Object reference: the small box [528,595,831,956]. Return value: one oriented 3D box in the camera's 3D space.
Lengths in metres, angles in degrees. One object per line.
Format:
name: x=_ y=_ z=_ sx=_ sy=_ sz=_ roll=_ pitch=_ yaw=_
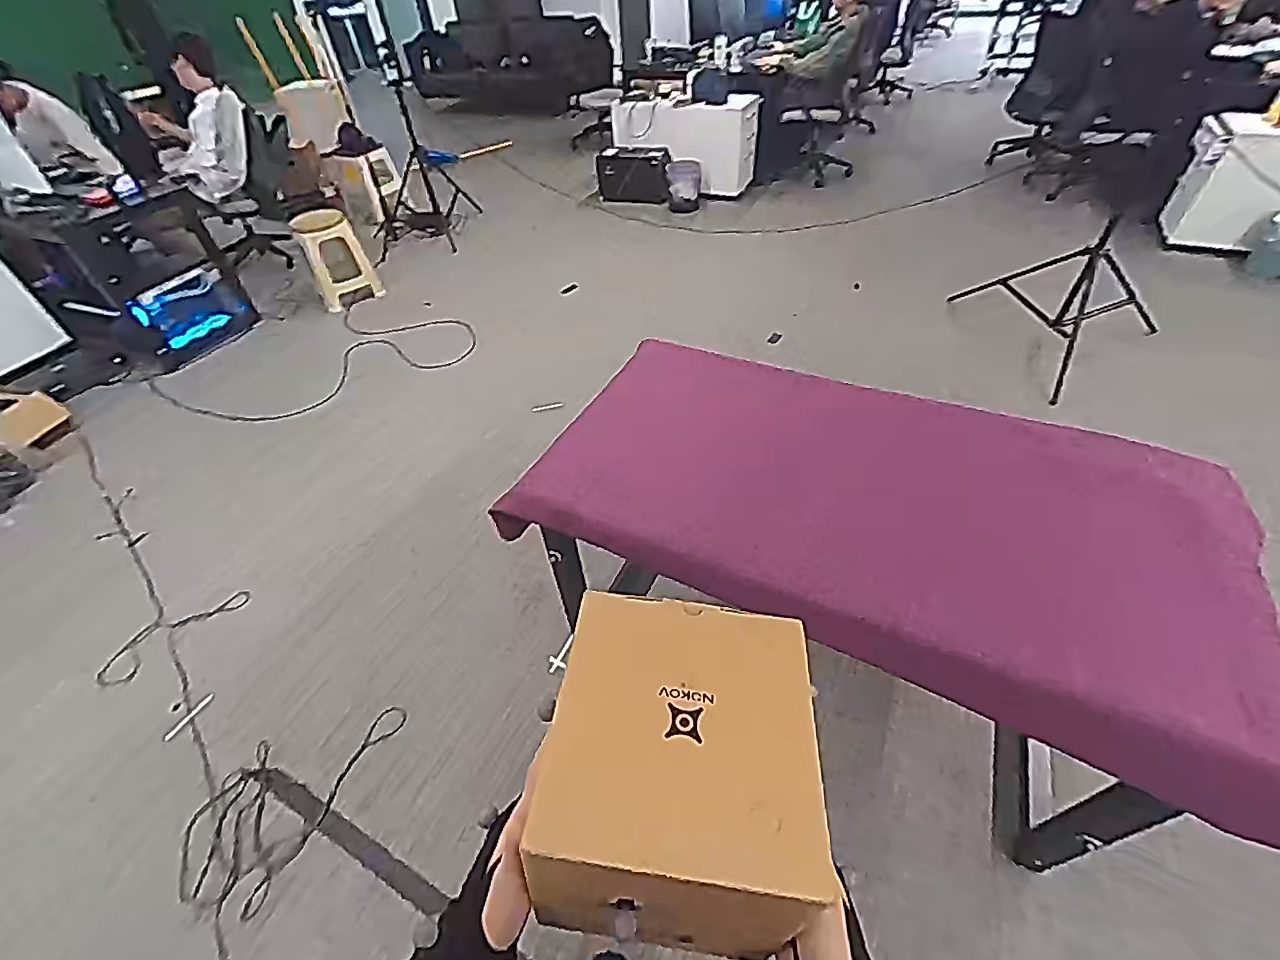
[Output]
small box: x=0.026 y=0.215 z=0.399 sx=0.168 sy=0.176 sz=0.179 roll=7 pitch=39 yaw=3
